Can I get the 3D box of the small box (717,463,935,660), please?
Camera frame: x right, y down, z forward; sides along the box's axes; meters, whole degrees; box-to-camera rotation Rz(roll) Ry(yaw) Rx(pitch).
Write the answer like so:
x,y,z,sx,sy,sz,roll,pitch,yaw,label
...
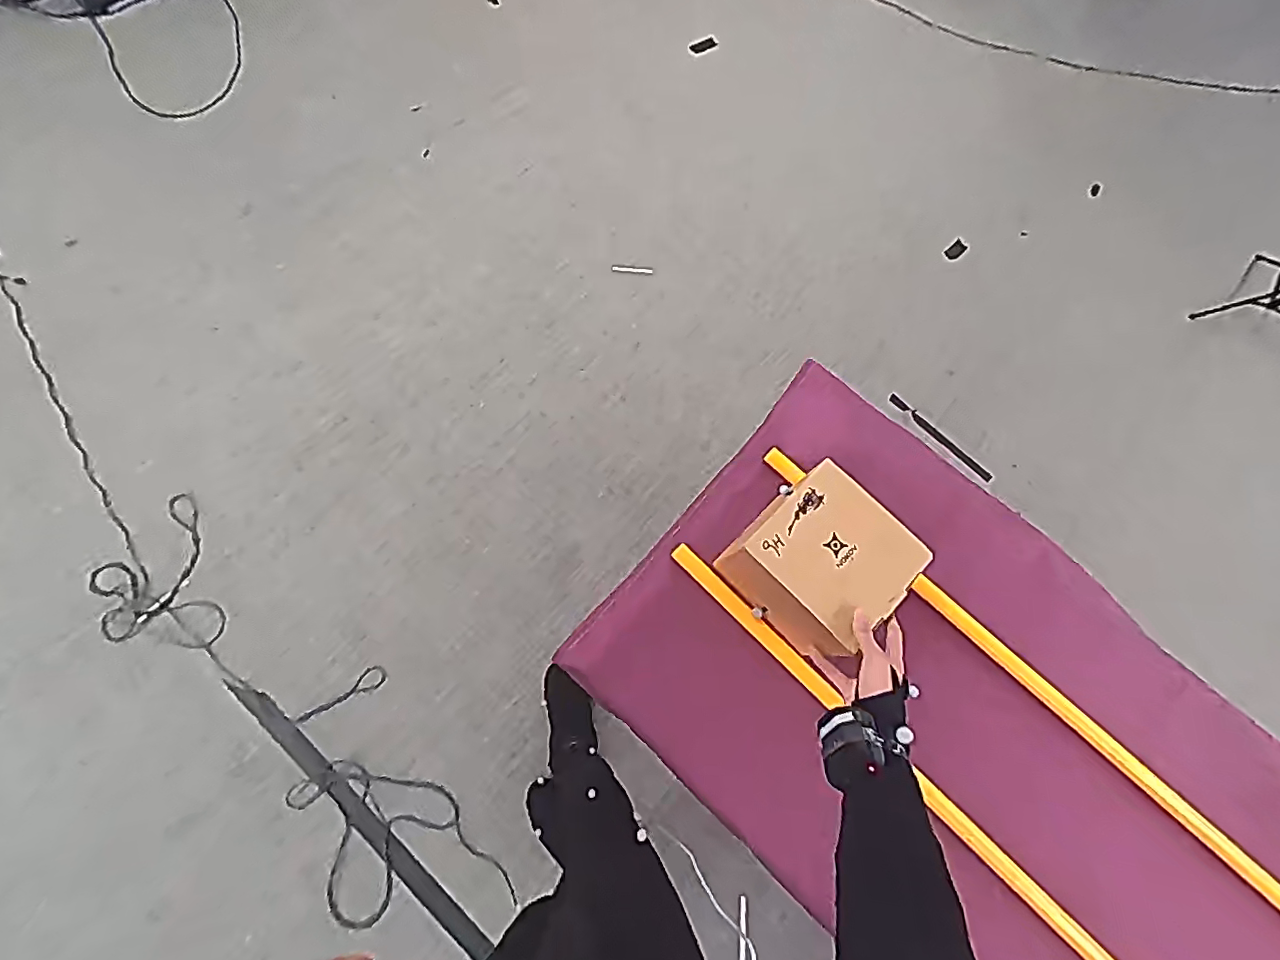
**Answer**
x,y,z,sx,sy,sz,roll,pitch,yaw,label
0.230,0.111,0.713,0.168,0.176,0.179,-42,82,-16,small box
